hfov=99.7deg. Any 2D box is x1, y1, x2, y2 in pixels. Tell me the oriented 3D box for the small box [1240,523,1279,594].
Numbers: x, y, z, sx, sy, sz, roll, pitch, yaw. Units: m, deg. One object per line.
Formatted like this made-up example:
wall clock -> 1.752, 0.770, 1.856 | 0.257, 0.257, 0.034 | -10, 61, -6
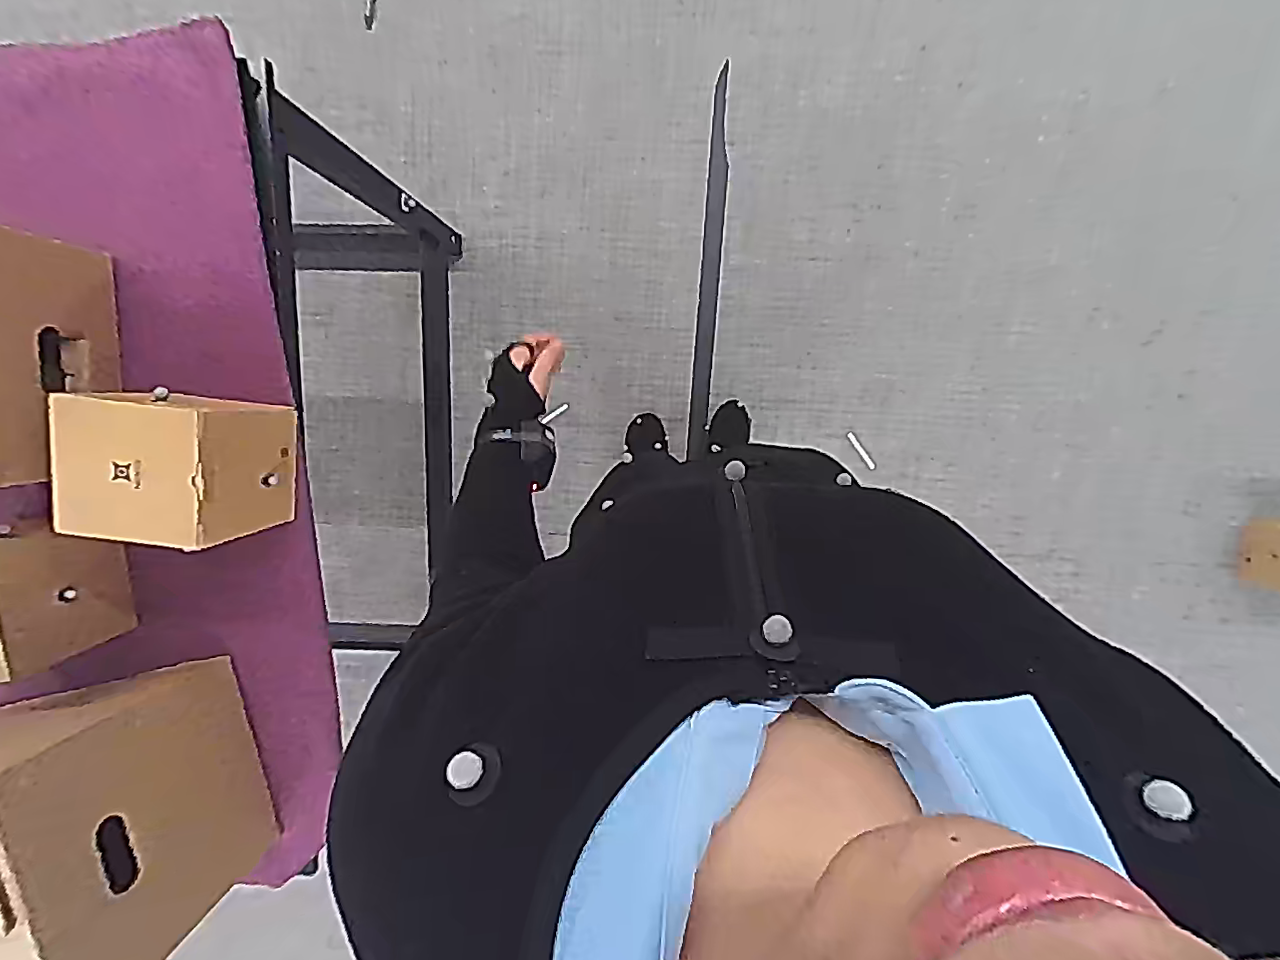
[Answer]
small box -> 1.698, 0.208, 1.369 | 0.179, 0.176, 0.168 | -1, 98, 2
